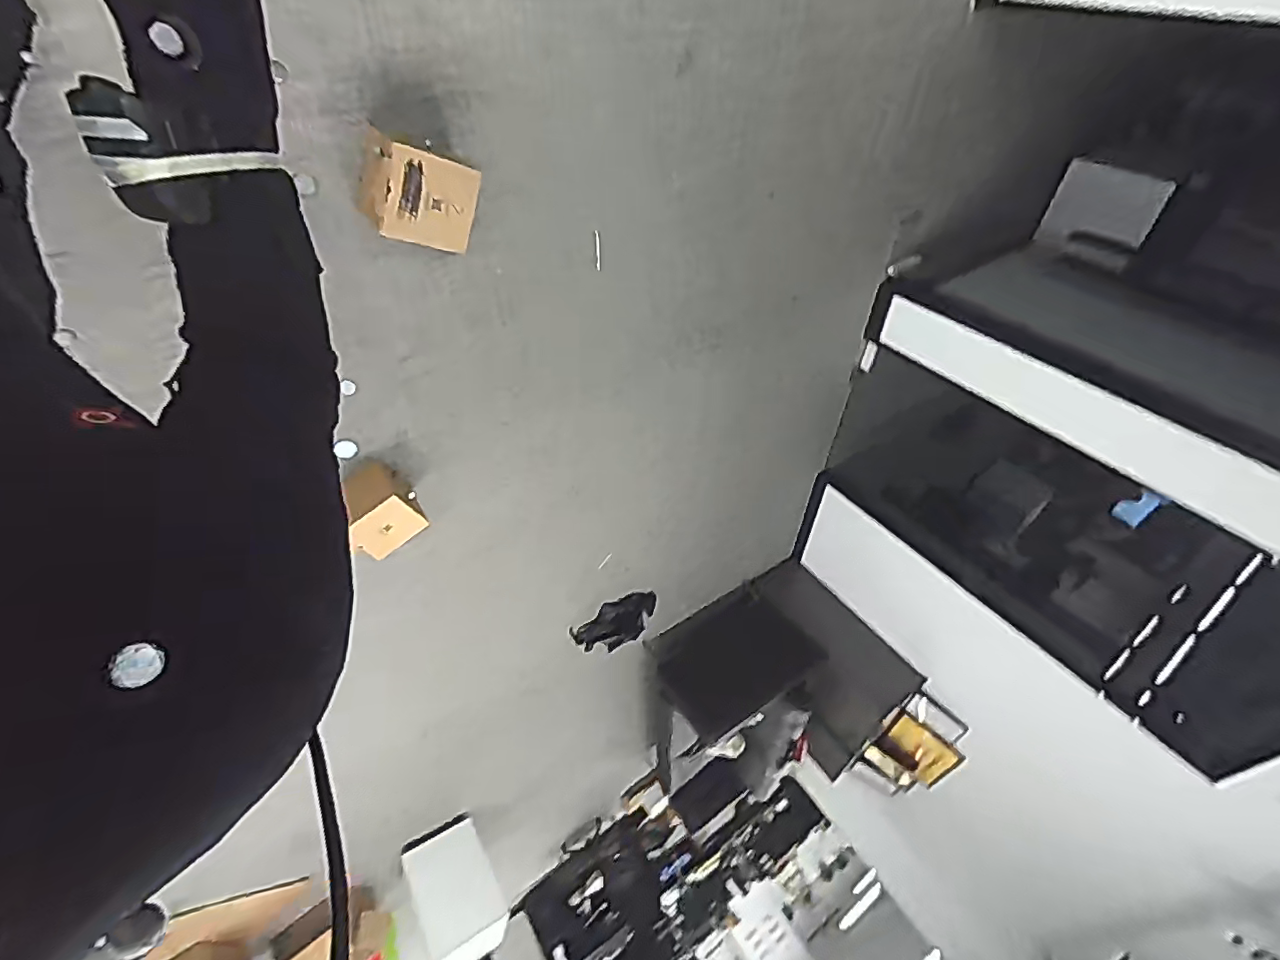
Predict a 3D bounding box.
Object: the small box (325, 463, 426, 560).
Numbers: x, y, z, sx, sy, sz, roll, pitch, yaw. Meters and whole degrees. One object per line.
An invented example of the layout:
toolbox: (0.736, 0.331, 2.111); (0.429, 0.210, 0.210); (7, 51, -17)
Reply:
small box: (-0.741, 0.085, 1.511); (0.179, 0.176, 0.168); (-37, 144, -7)
